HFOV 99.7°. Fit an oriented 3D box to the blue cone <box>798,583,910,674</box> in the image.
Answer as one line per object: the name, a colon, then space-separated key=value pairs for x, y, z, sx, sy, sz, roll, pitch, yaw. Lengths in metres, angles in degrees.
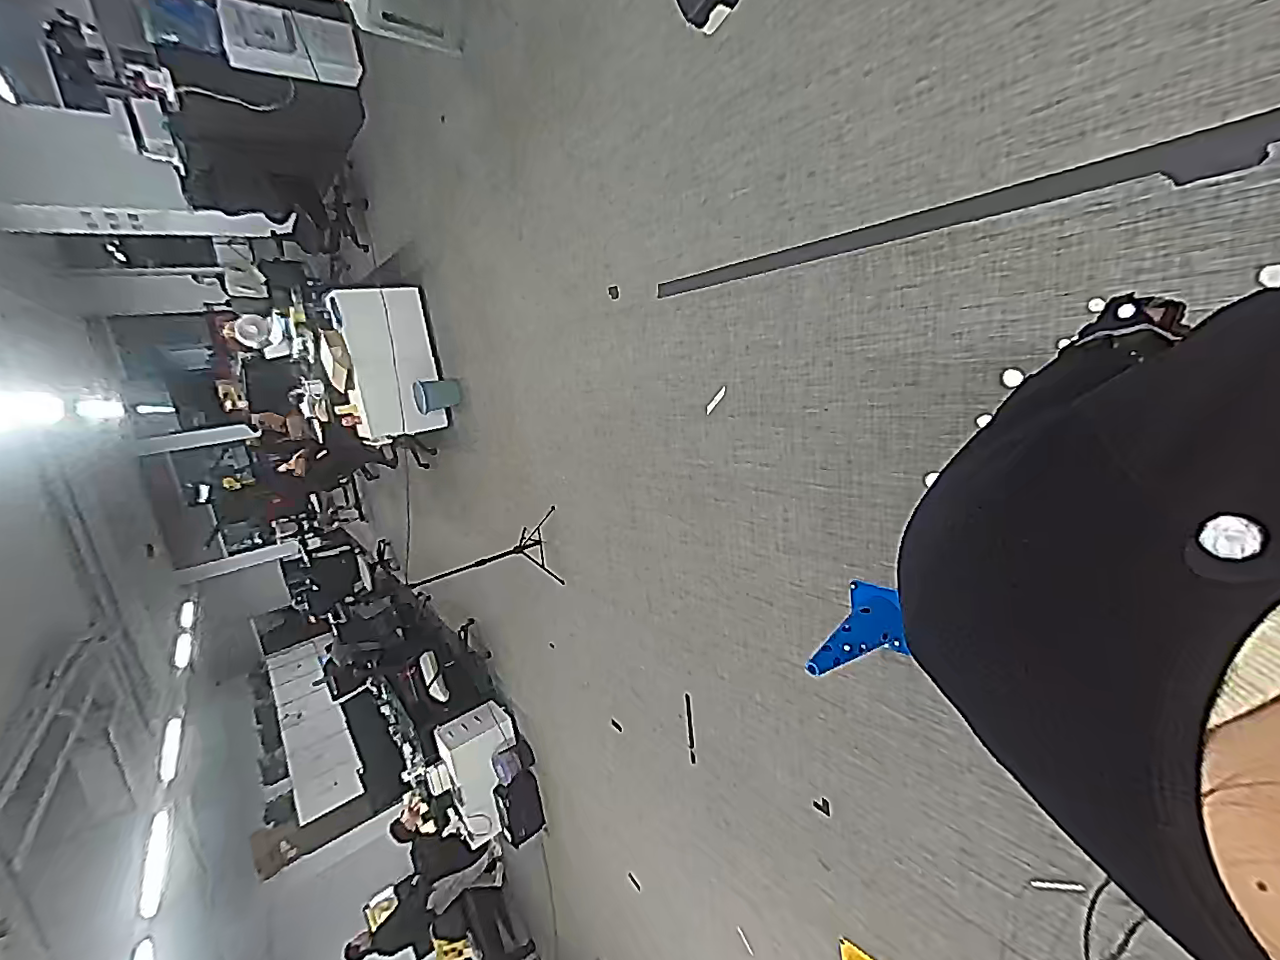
blue cone: x=0.587 y=0.452 z=1.527 sx=0.192 sy=0.380 sz=0.193 roll=12 pitch=114 yaw=52
